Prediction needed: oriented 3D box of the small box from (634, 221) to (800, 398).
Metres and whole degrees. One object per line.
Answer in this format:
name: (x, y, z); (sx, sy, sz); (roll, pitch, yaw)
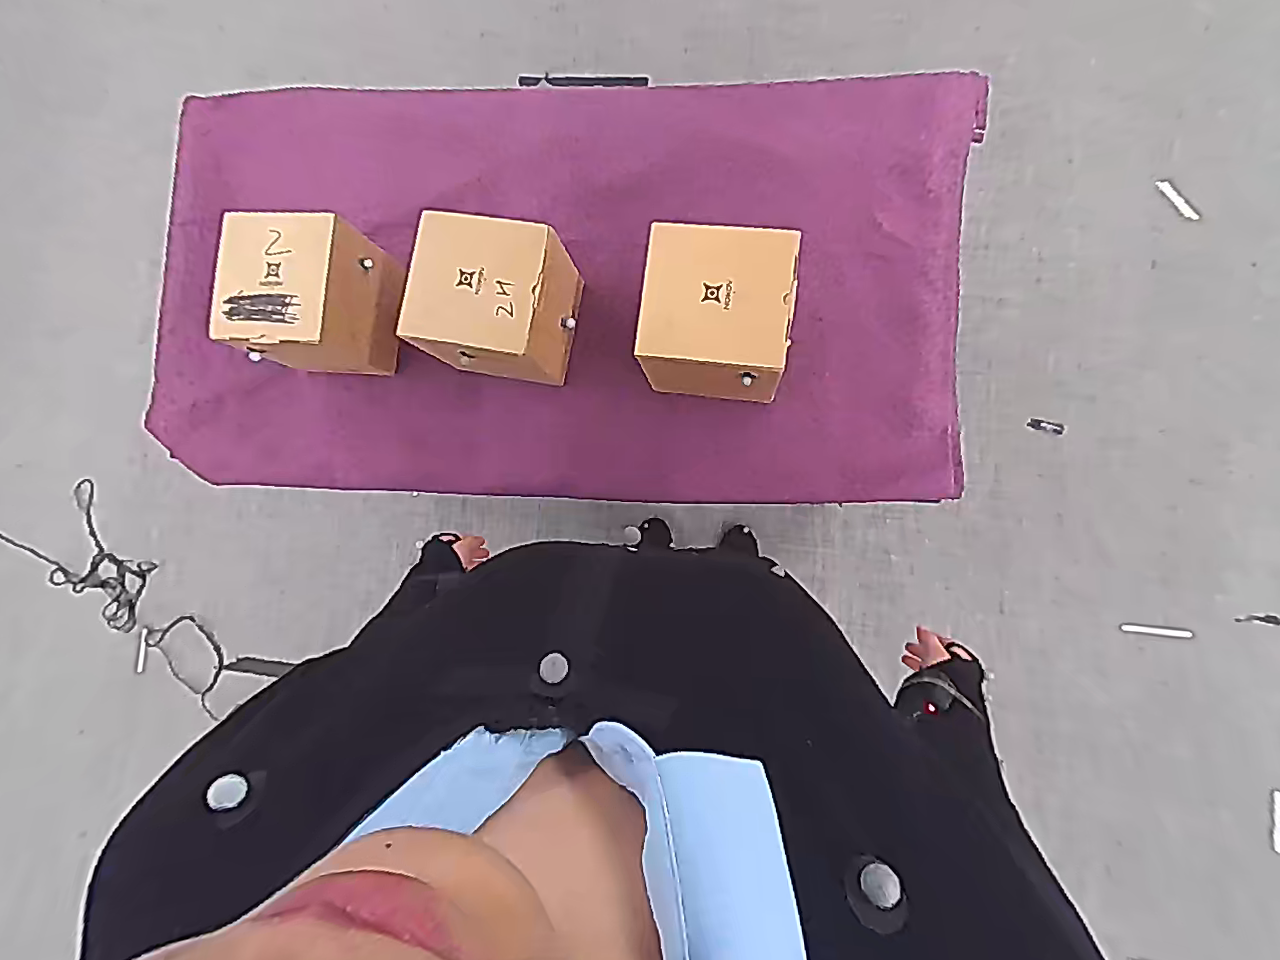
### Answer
small box: (0.099, -0.210, 0.703); (0.179, 0.176, 0.168); (7, 86, 8)

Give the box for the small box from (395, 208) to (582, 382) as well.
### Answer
small box: (-0.196, -0.242, 0.744); (0.179, 0.176, 0.168); (11, 88, 8)
